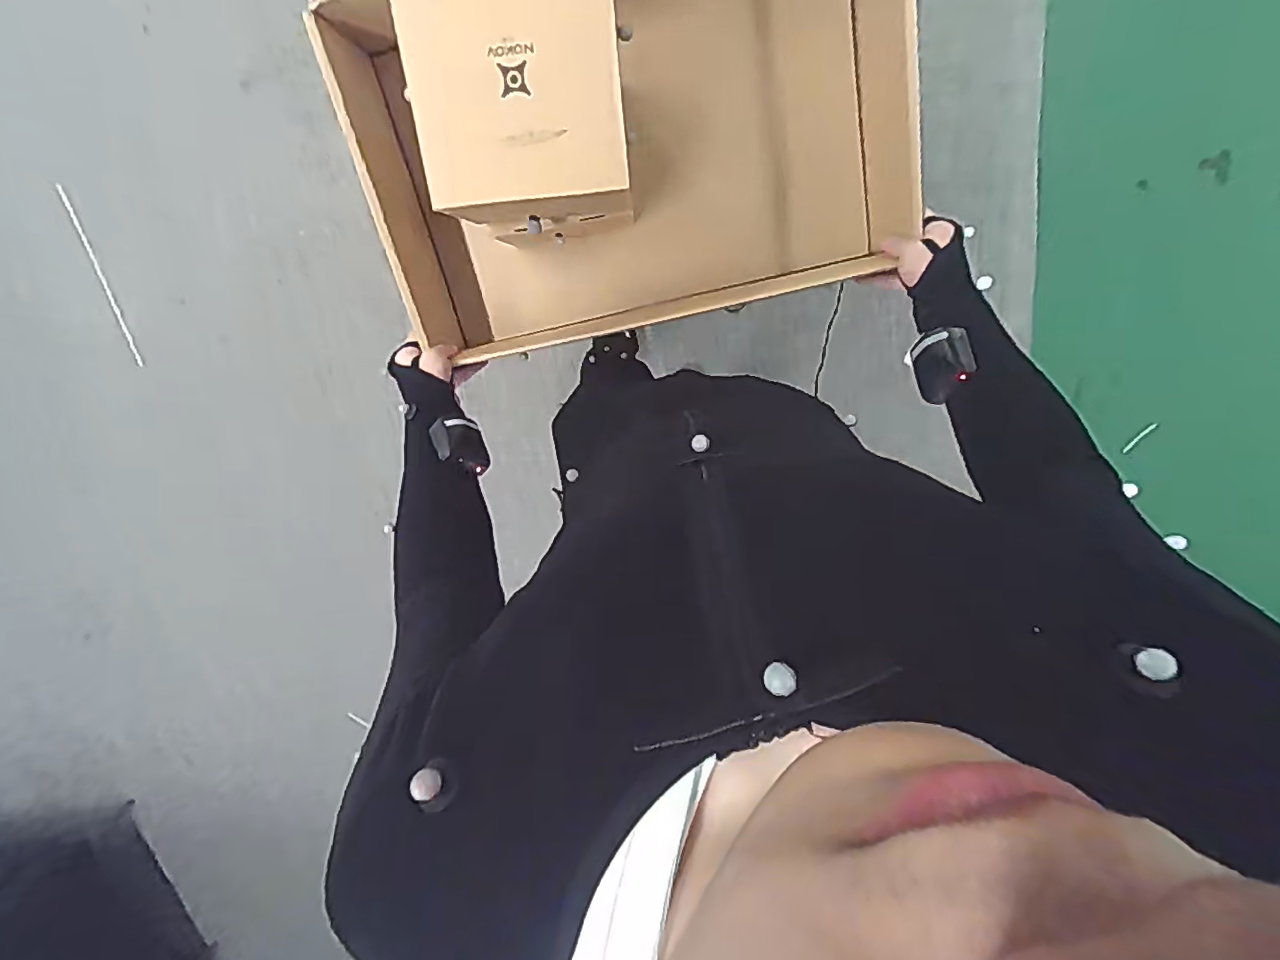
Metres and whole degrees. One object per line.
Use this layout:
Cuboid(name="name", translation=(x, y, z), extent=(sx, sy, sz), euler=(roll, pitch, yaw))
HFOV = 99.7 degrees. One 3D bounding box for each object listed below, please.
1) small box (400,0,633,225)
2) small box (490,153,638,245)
Cuboid(name="small box", translation=(-0.095, -0.341, 0.491), extent=(0.168, 0.176, 0.179), euler=(-4, 110, 1))
Cuboid(name="small box", translation=(-0.098, -0.390, 0.646), extent=(0.168, 0.176, 0.179), euler=(-8, 111, 1))
